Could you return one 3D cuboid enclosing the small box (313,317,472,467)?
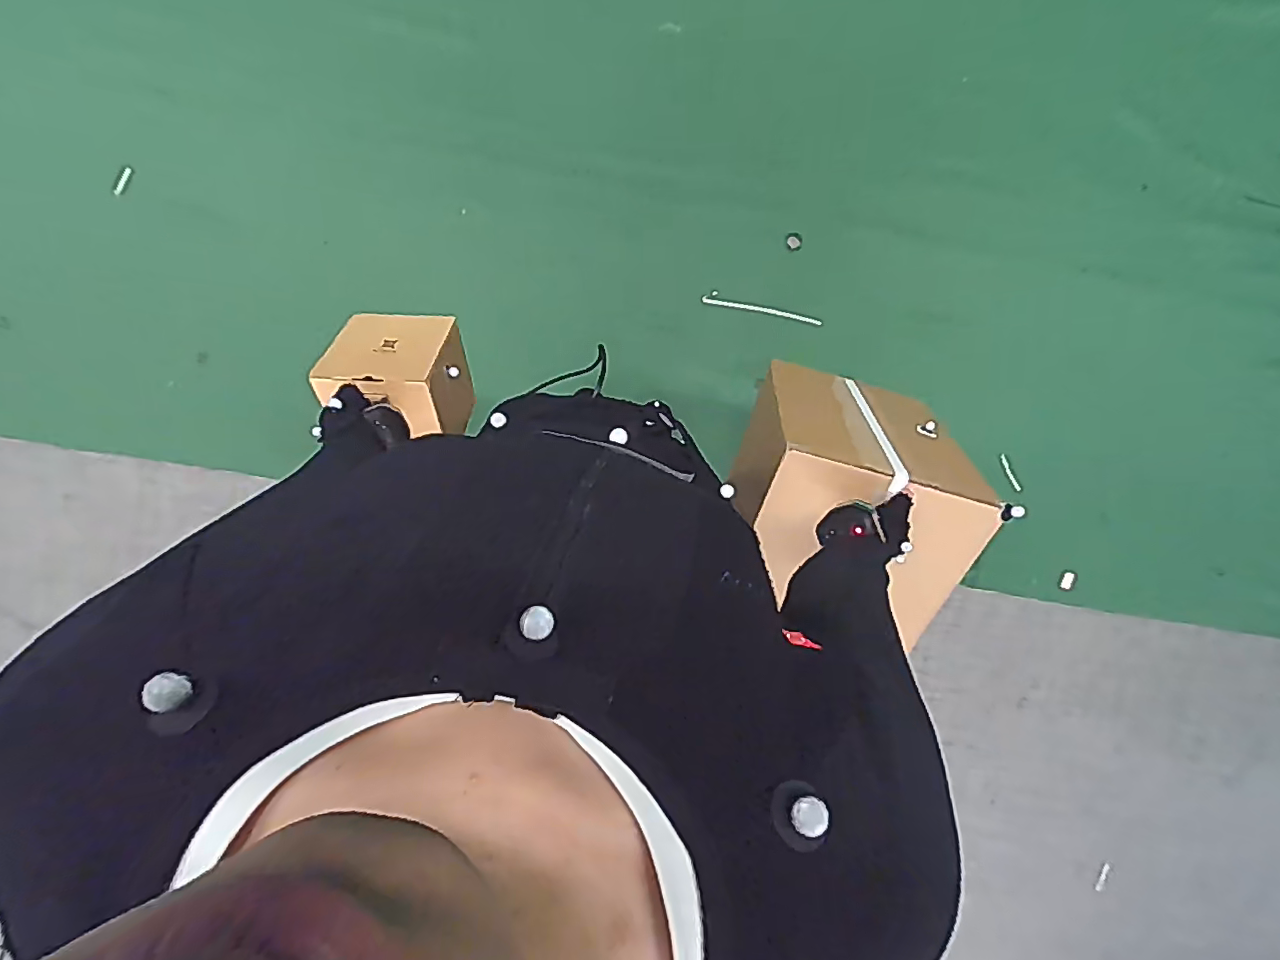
[{"bbox_3d":[-0.382,-0.143,0.876,0.168,0.179,0.176,1,137,0],"label":"small box"}]
